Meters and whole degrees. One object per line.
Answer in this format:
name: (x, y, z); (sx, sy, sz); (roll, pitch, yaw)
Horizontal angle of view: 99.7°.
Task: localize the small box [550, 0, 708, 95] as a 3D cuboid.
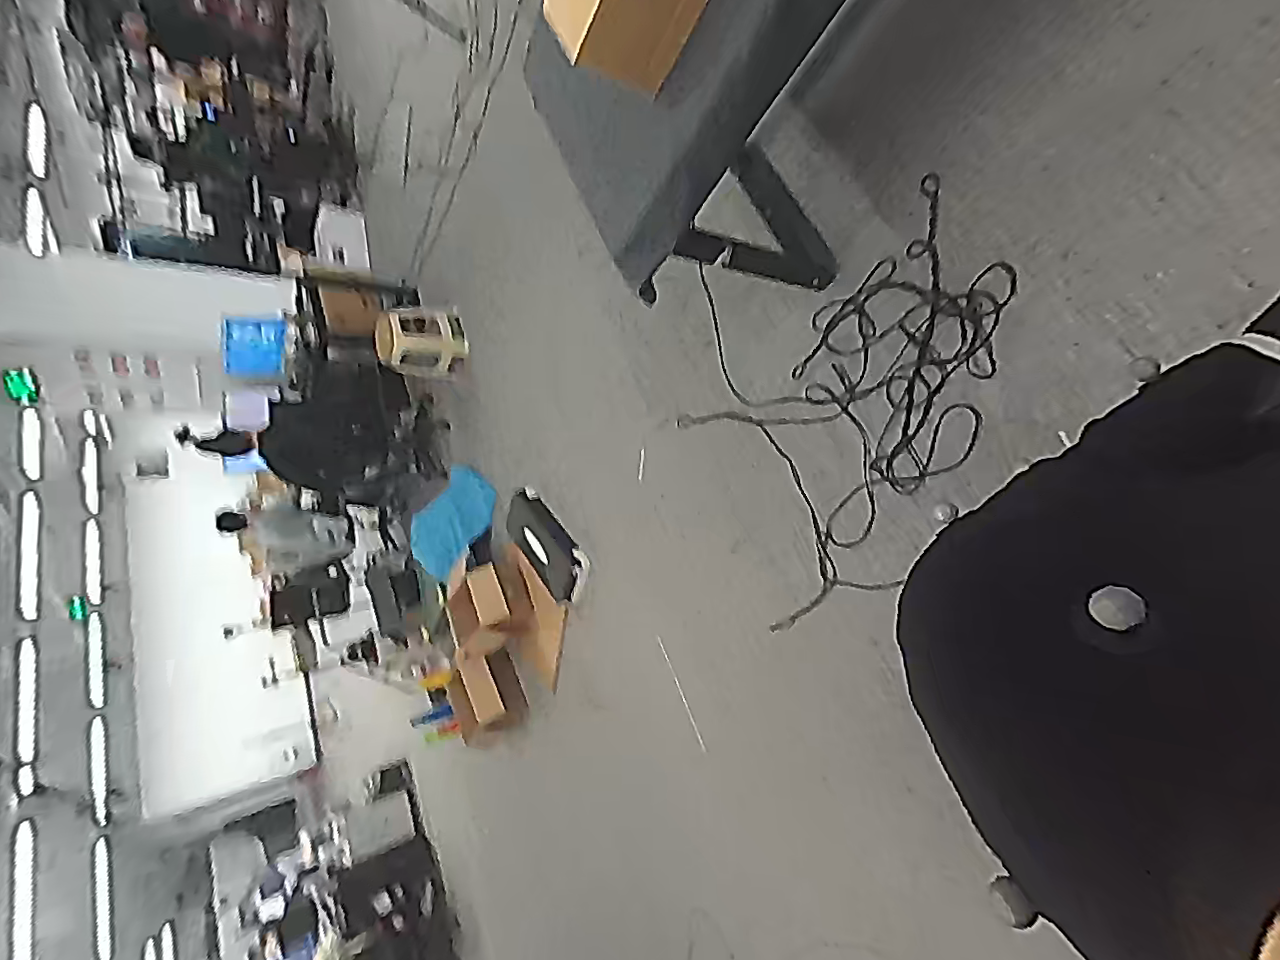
small box: (-0.018, -0.776, 0.874); (0.179, 0.176, 0.168); (-45, 60, 43)
